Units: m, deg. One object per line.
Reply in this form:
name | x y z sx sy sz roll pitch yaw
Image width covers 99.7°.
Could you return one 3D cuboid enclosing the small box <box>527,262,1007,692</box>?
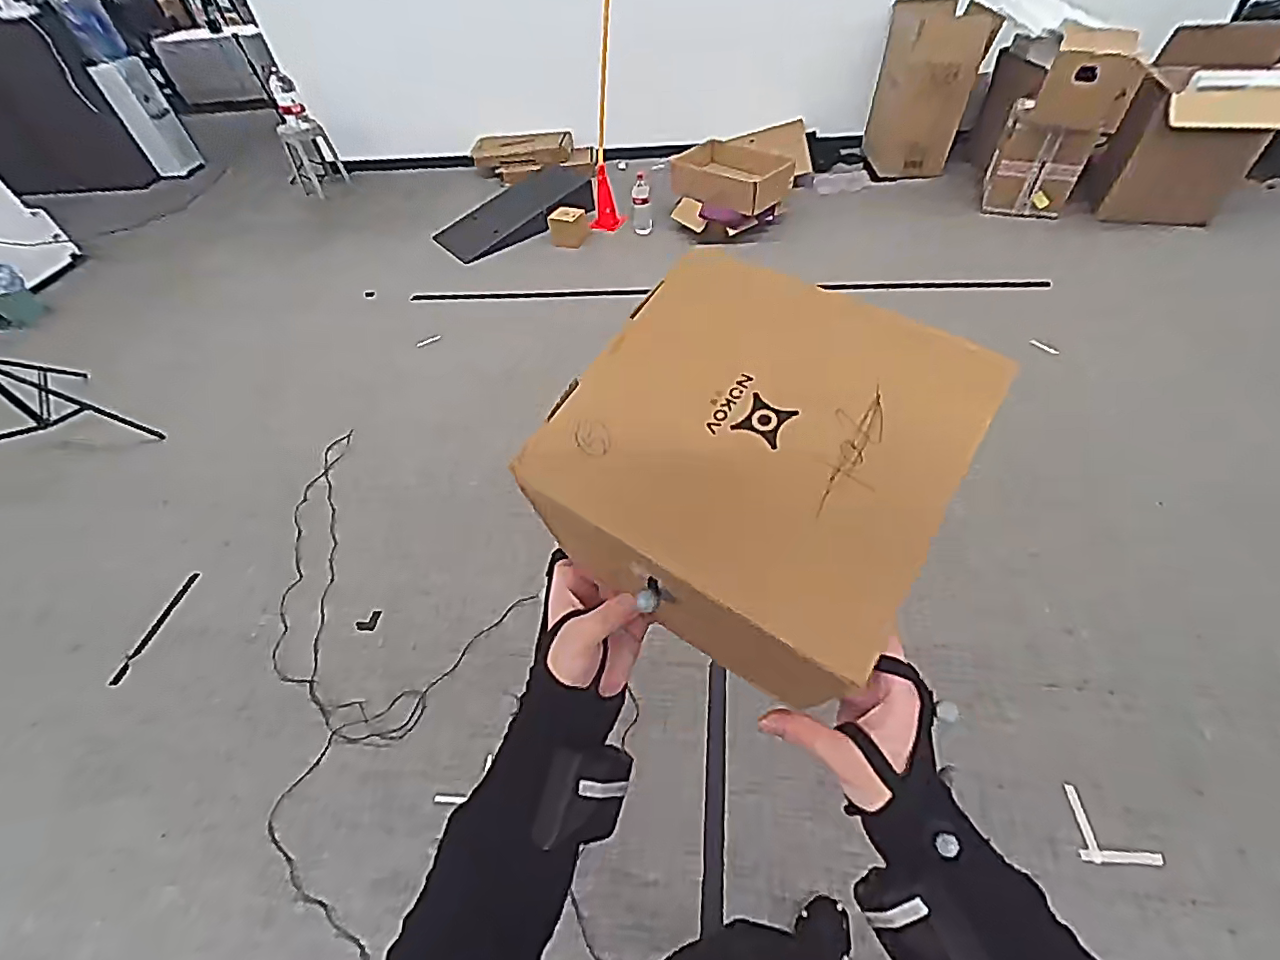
small box | 0.067 0.010 0.329 0.179 0.176 0.168 29 71 19
